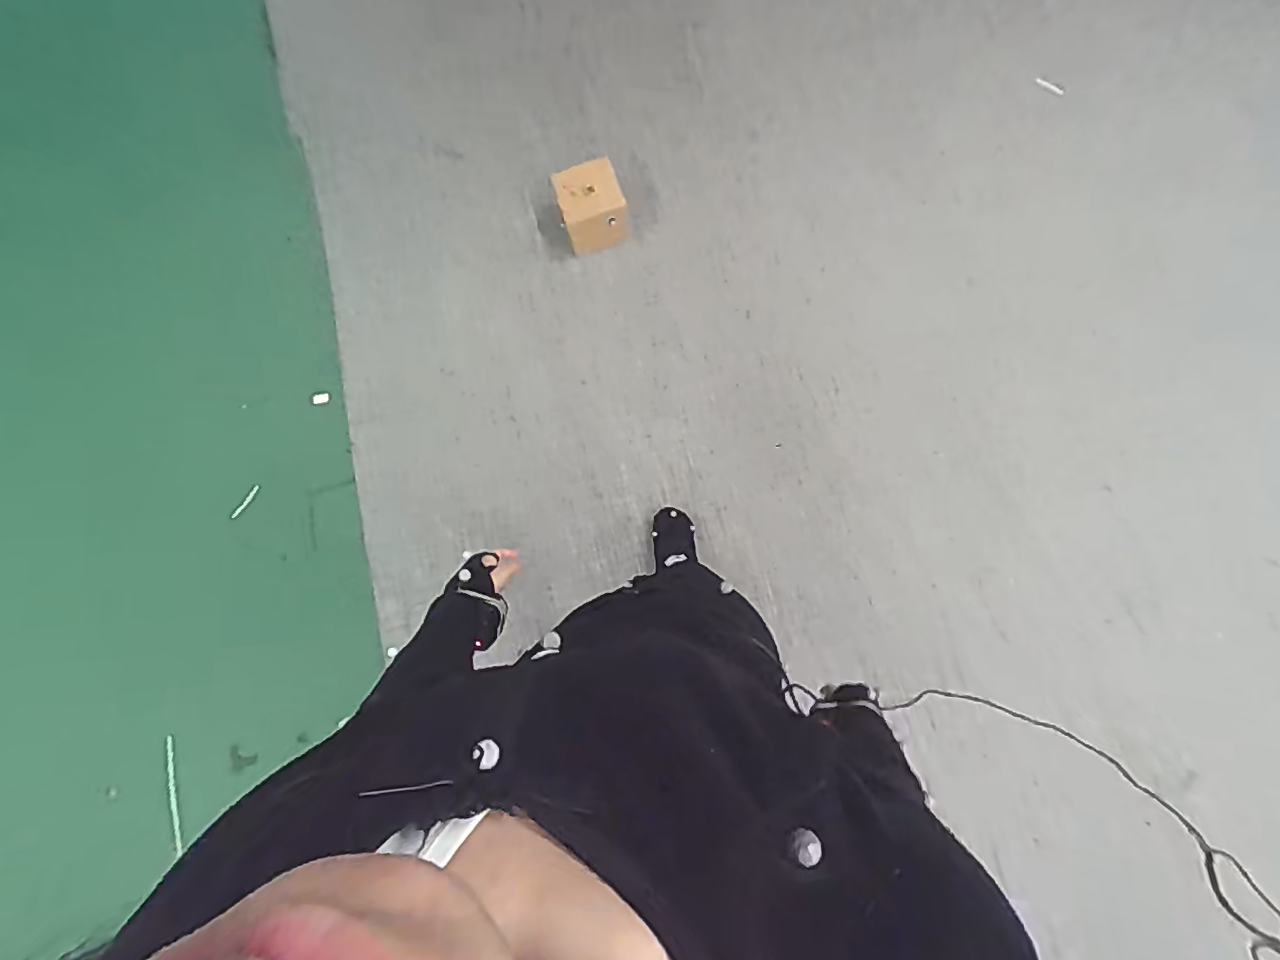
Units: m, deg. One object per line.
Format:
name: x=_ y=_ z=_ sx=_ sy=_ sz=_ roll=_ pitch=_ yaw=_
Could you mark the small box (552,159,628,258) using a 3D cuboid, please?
small box: x=-0.138 y=-0.785 z=1.578 sx=0.179 sy=0.176 sz=0.168 roll=-18 pitch=81 yaw=1
